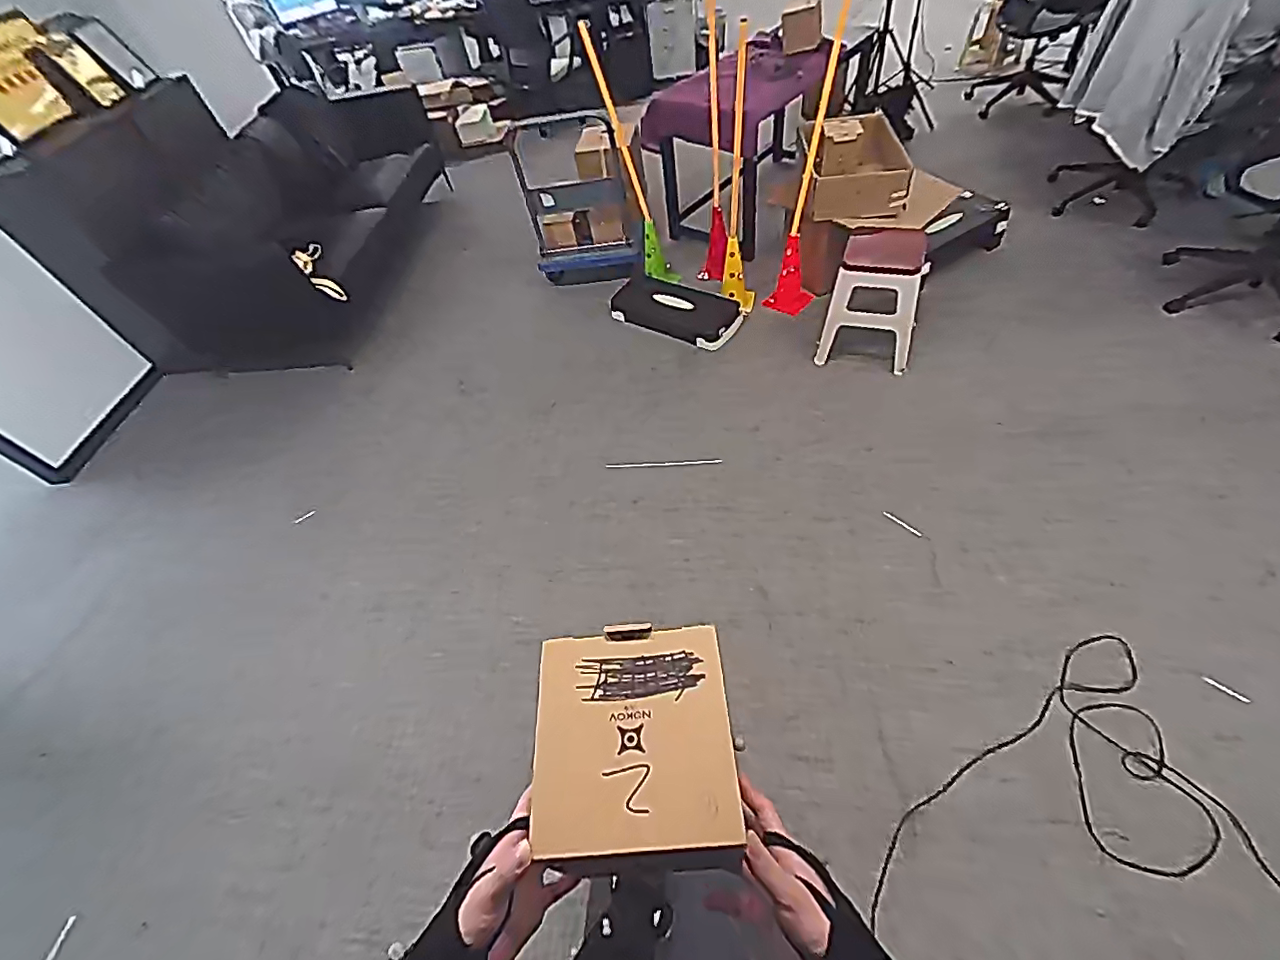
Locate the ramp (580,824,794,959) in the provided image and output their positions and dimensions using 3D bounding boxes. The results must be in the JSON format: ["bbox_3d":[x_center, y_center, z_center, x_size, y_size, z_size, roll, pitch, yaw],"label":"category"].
[{"bbox_3d":[0.080,1.248,1.053,0.509,0.206,0.991,-4,51,9],"label":"ramp"}]
